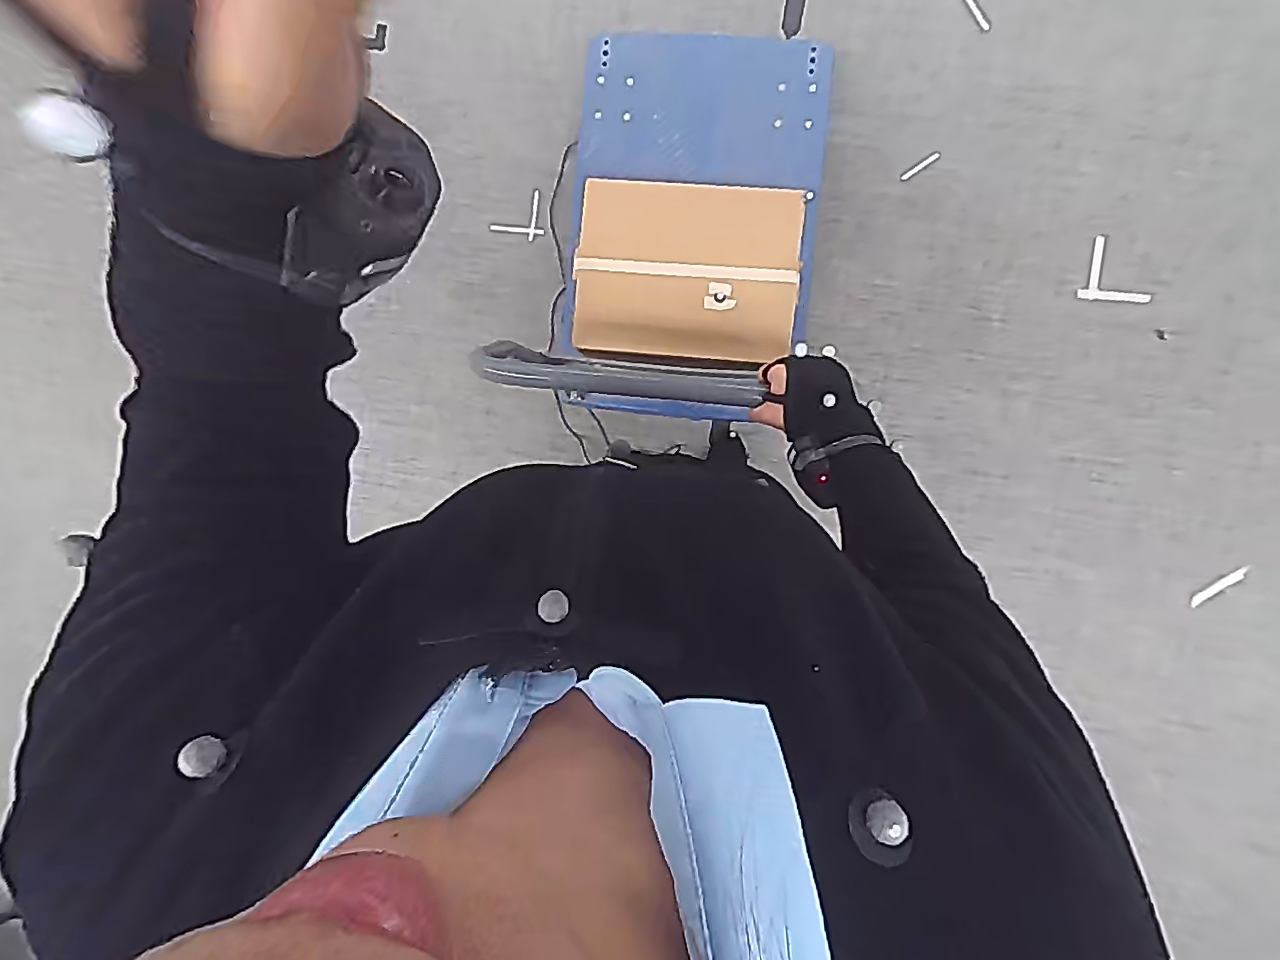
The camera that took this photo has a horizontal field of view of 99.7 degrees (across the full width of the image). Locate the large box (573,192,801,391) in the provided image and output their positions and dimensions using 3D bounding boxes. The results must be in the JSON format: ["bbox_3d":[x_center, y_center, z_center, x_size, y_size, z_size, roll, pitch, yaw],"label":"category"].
[{"bbox_3d":[0.091,-0.370,1.138,0.408,0.320,0.320,5,94,4],"label":"large box"}]
